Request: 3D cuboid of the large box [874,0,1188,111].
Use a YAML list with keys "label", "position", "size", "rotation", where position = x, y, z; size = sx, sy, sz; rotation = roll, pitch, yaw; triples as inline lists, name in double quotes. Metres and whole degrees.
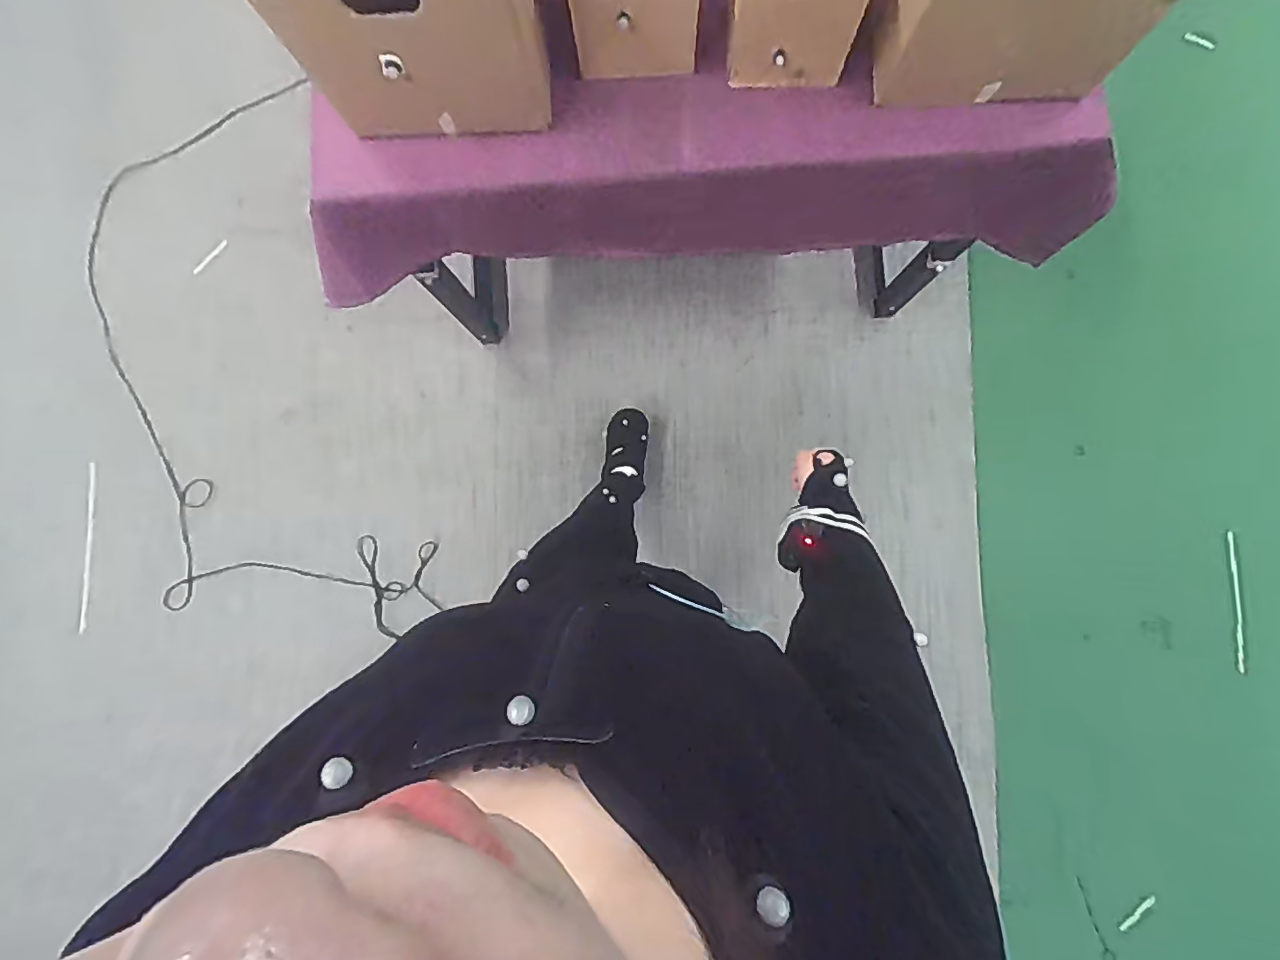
- label: "large box"
  position: [0.508, -0.771, 0.686]
  size: [0.320, 0.320, 0.408]
  rotation: [0, 86, 2]
